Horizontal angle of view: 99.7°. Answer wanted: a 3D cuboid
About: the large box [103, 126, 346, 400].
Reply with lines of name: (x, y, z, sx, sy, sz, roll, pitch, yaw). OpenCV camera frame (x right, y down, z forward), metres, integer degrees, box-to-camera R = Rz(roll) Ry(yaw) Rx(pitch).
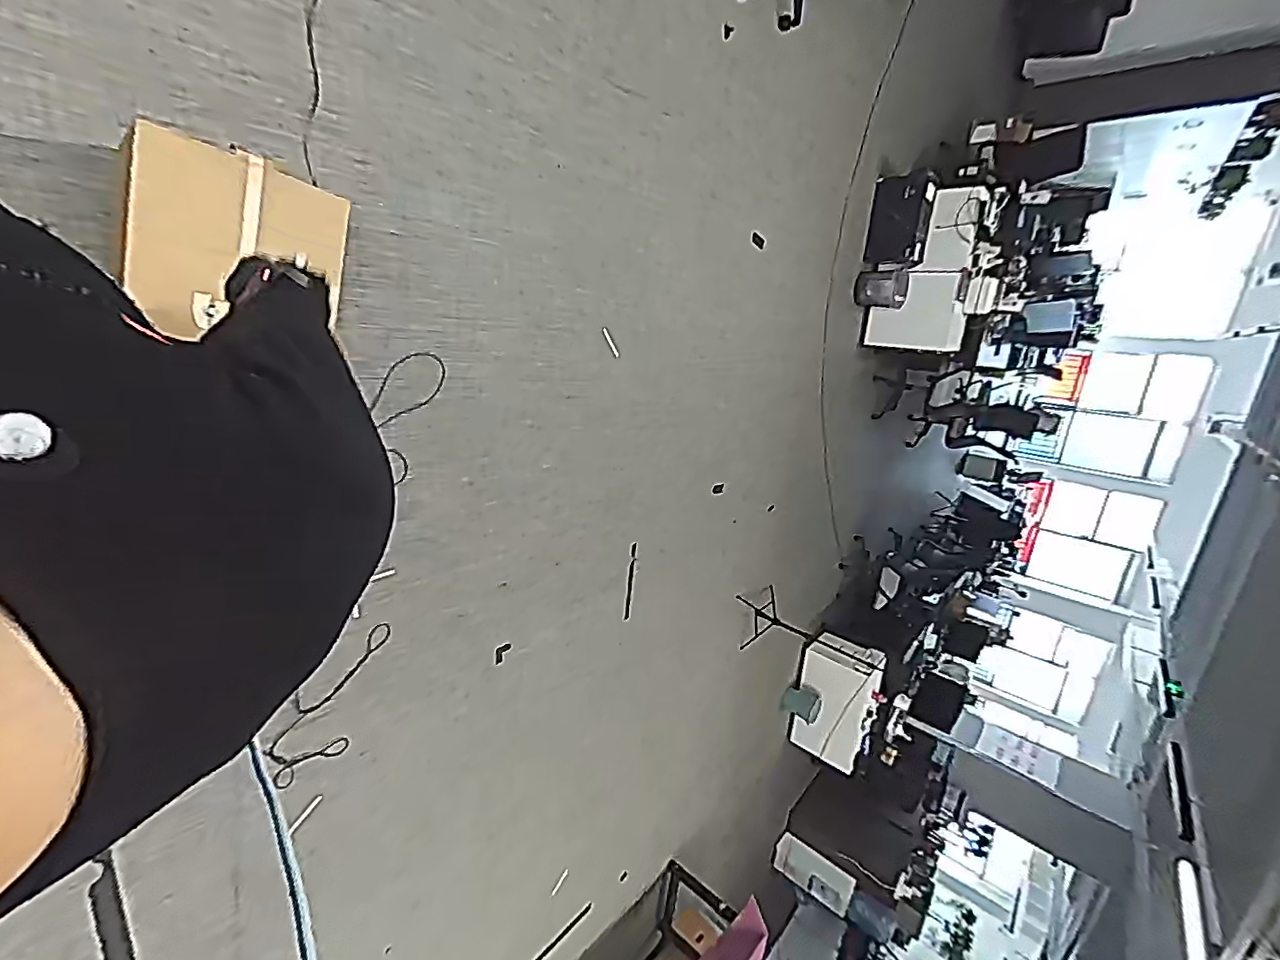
large box: (-0.829, -0.401, 1.077, 0.320, 0.320, 0.408, 3, 103, -49)
